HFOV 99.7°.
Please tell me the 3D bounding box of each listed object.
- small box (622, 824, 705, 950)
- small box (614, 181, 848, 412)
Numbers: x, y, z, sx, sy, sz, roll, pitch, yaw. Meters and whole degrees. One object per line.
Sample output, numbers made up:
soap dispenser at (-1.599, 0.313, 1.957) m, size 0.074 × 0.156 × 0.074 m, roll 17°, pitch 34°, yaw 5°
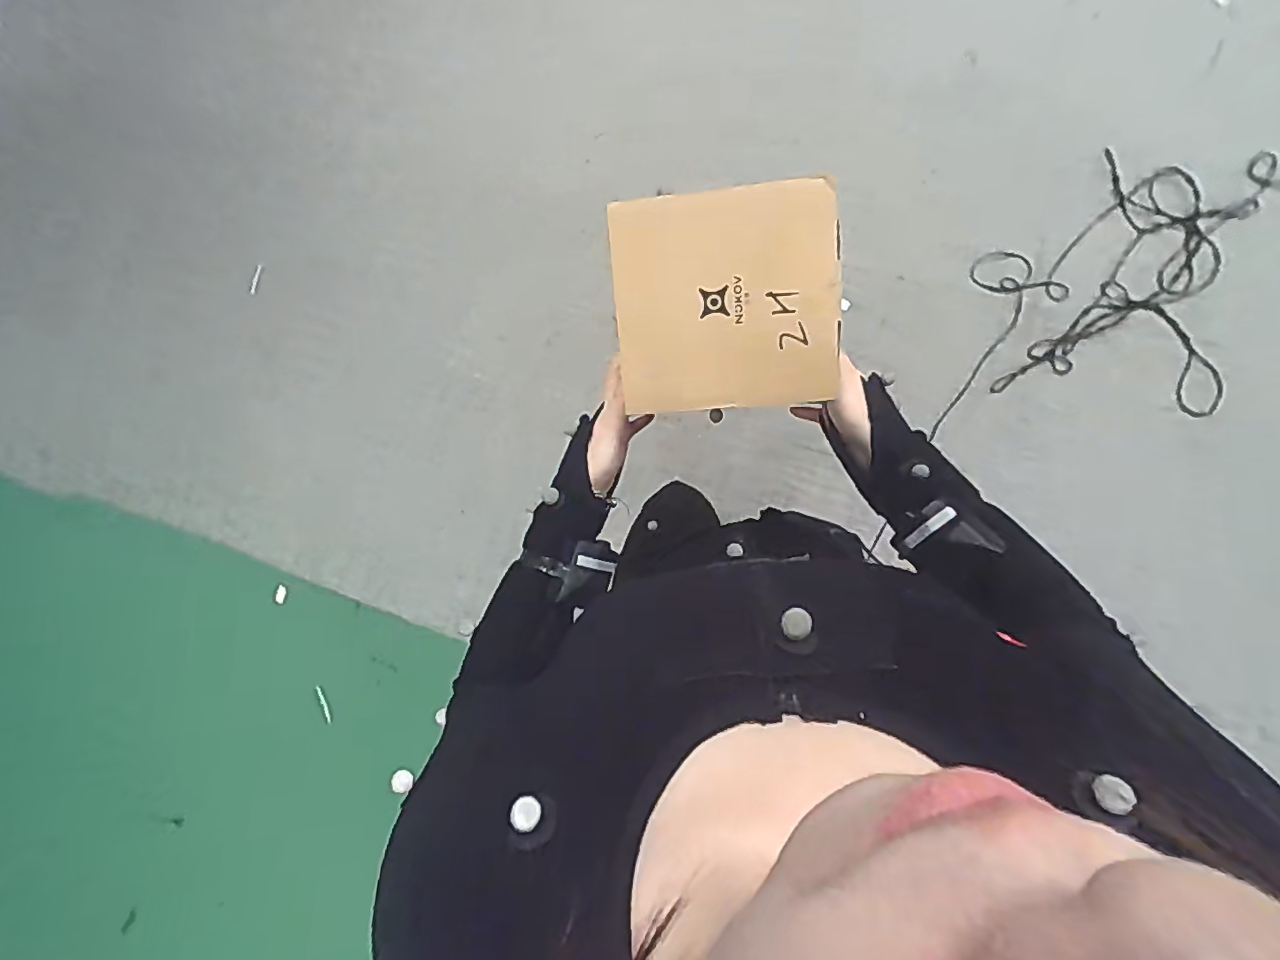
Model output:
small box at (0.066, 1.048, 1.411) m, size 0.168 × 0.176 × 0.179 m, roll 18°, pitch 92°, yaw 9°
small box at (0.080, -0.155, 0.499) m, size 0.179 × 0.176 × 0.168 m, roll -3°, pitch 104°, yaw 7°
